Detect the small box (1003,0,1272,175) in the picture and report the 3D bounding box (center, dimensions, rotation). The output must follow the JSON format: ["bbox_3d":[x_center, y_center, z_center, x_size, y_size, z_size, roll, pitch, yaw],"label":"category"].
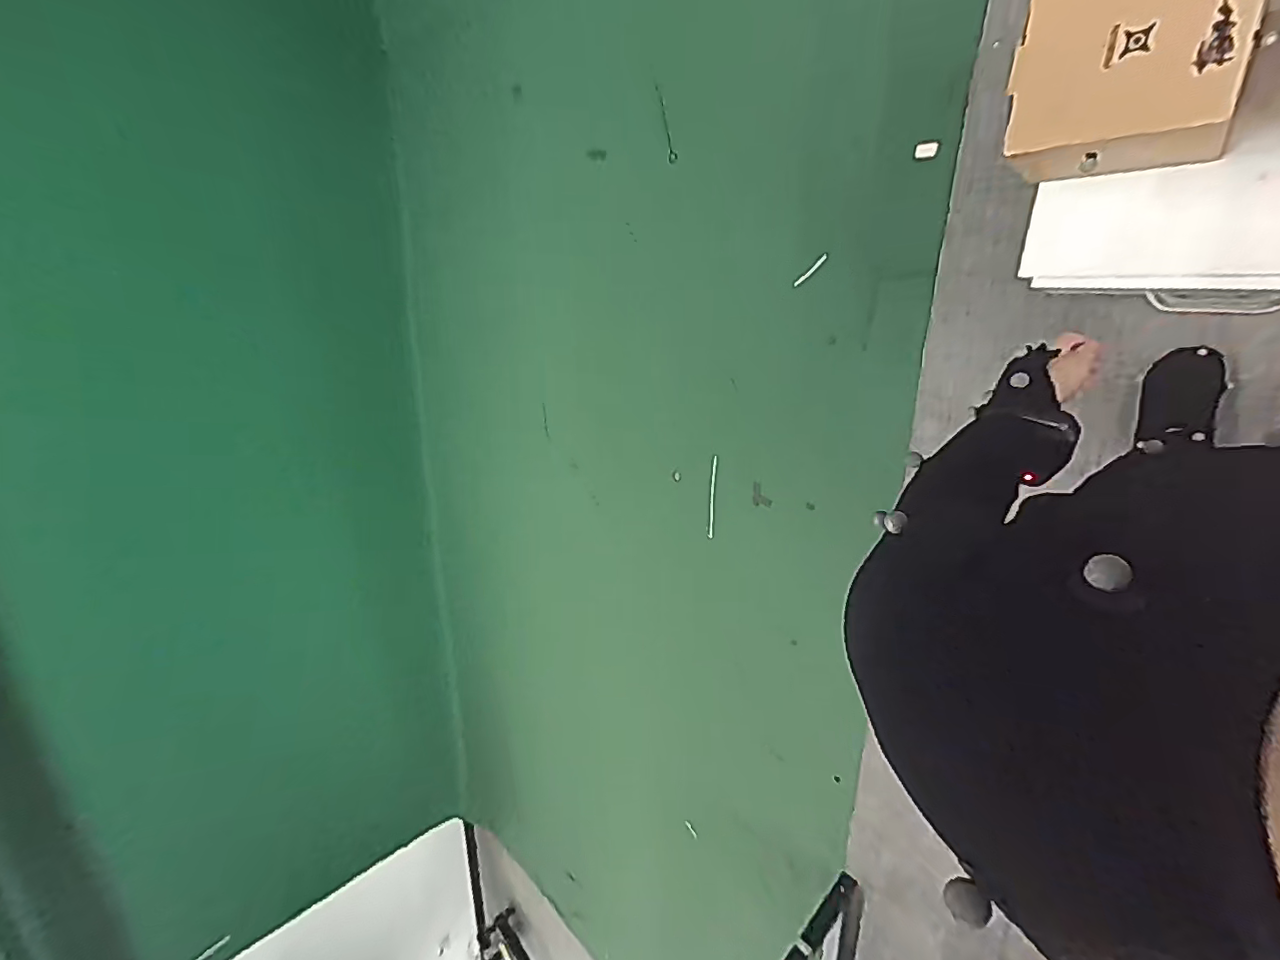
[{"bbox_3d":[0.517,-0.435,0.566,0.179,0.176,0.168,17,114,42],"label":"small box"}]
